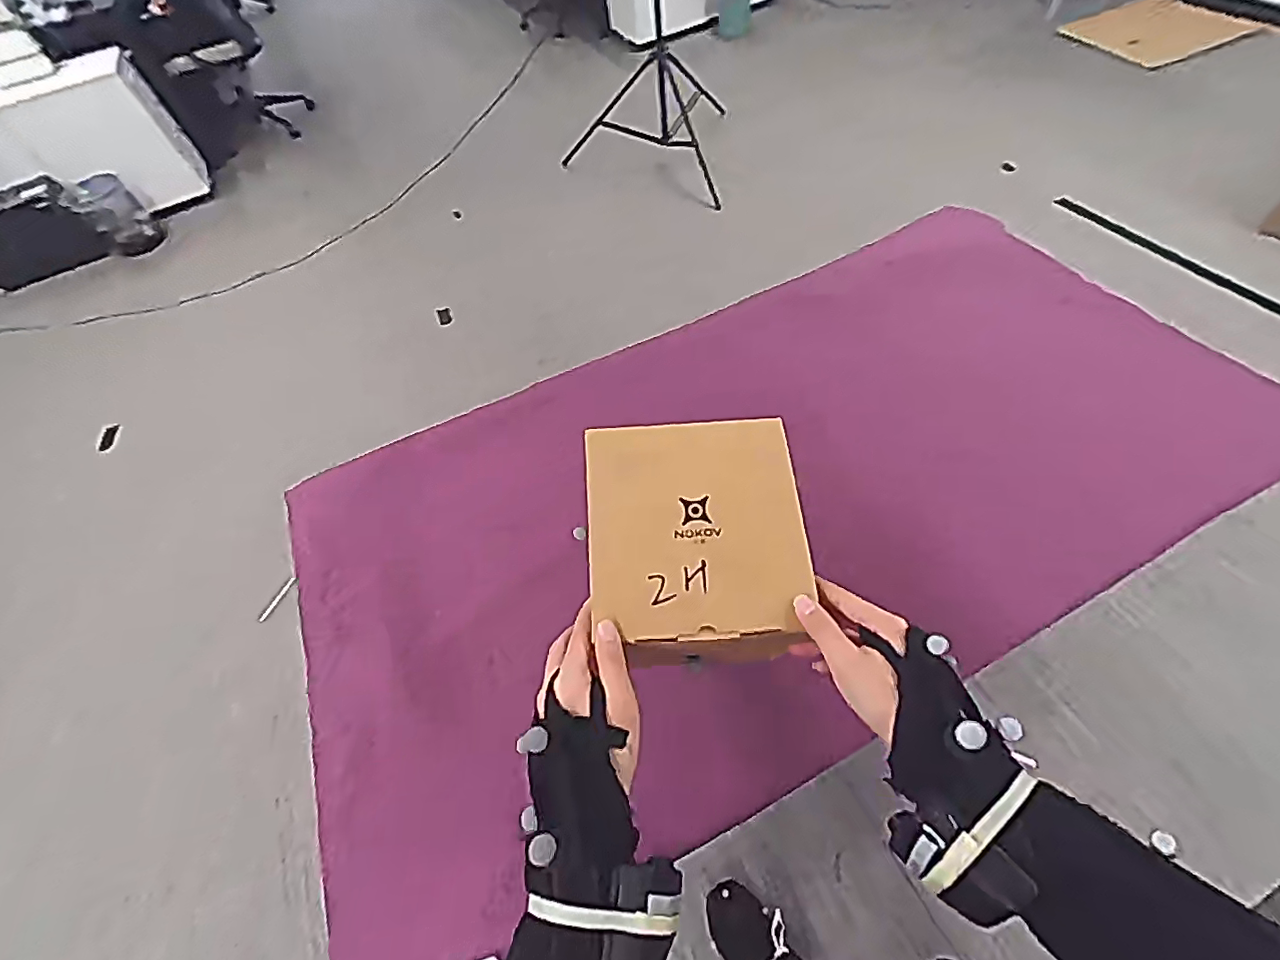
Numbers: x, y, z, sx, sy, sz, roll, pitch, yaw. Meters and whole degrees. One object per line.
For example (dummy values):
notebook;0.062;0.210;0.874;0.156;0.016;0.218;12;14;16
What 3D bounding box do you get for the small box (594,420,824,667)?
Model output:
small box;0.046;0.065;0.492;0.168;0.176;0.179;-4;65;-1
